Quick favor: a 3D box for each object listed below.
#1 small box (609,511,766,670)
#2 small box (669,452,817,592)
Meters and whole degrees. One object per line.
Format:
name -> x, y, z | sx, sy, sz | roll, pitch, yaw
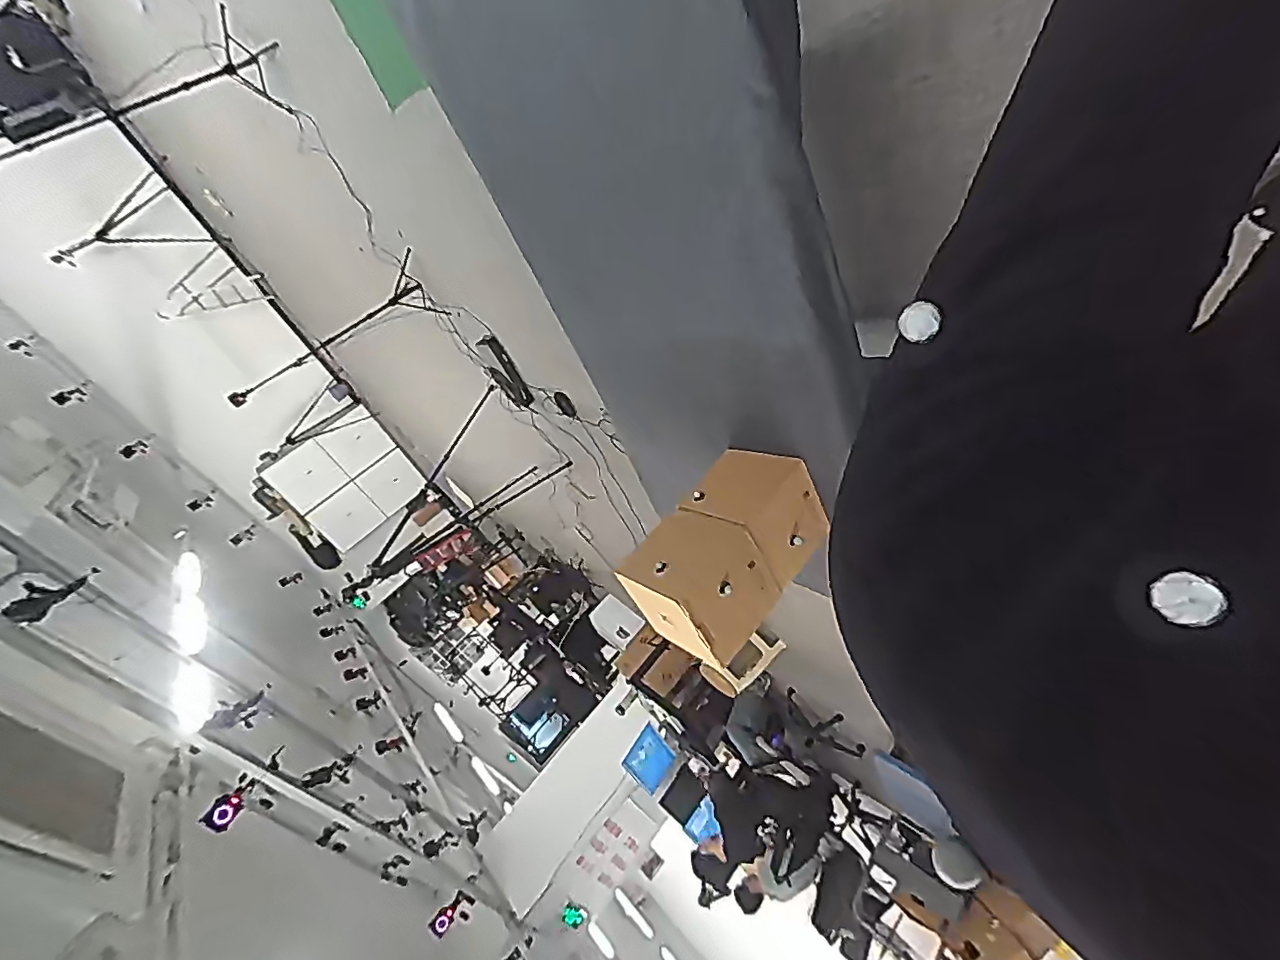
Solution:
small box -> 0.087, 0.172, 0.900 | 0.179, 0.176, 0.168 | 14, 140, 53
small box -> 0.192, 0.065, 0.964 | 0.179, 0.176, 0.168 | 13, 141, 52
